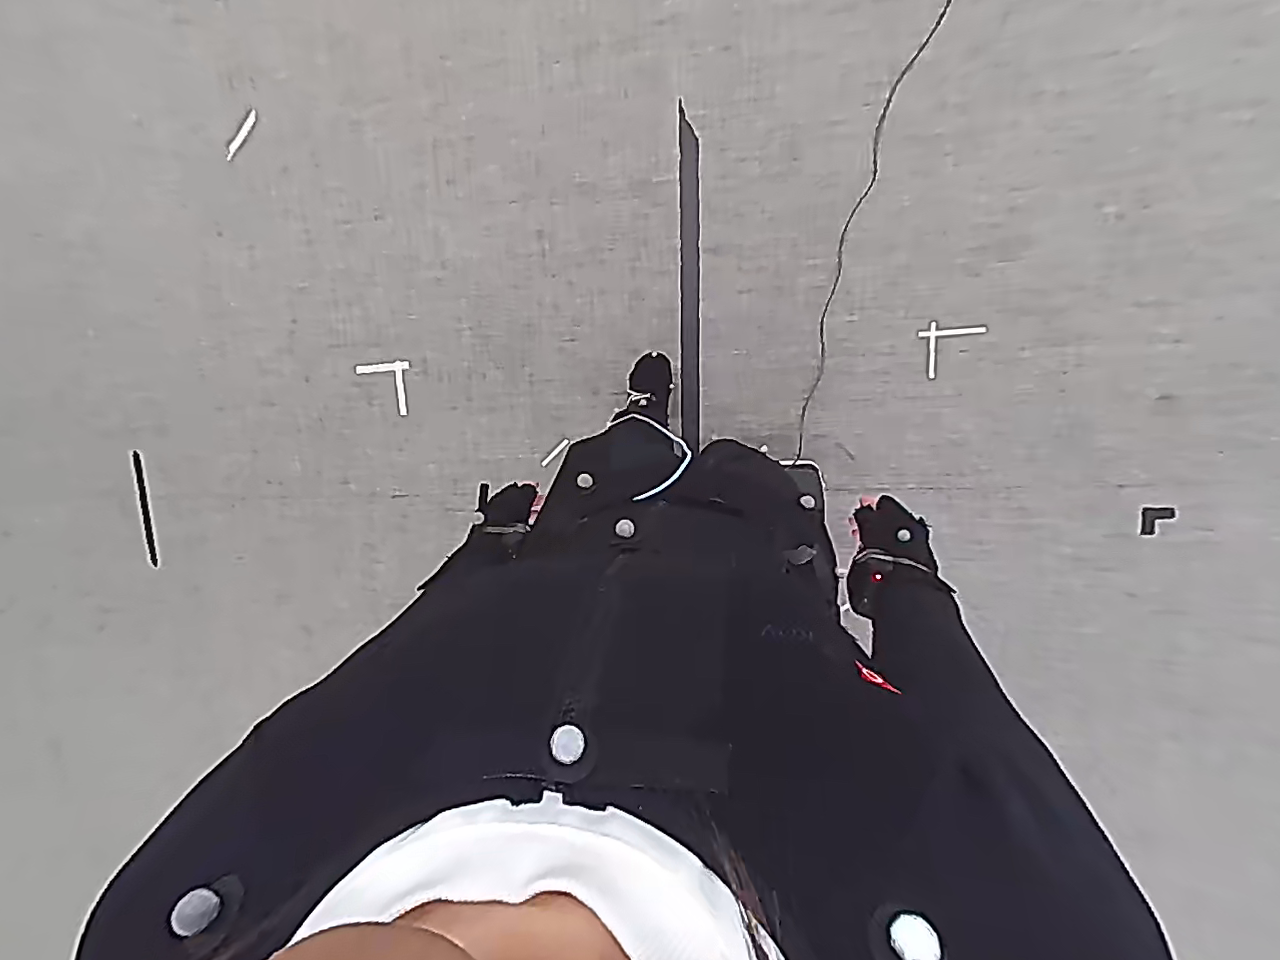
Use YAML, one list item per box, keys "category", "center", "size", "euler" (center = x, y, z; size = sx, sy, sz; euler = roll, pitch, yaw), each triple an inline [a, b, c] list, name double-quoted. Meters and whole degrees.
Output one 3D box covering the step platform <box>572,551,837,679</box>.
- category: "step platform"
  center: [0.163, 0.350, 1.440]
  size: [0.684, 0.204, 0.286]
  euler: [-1, 97, 11]
